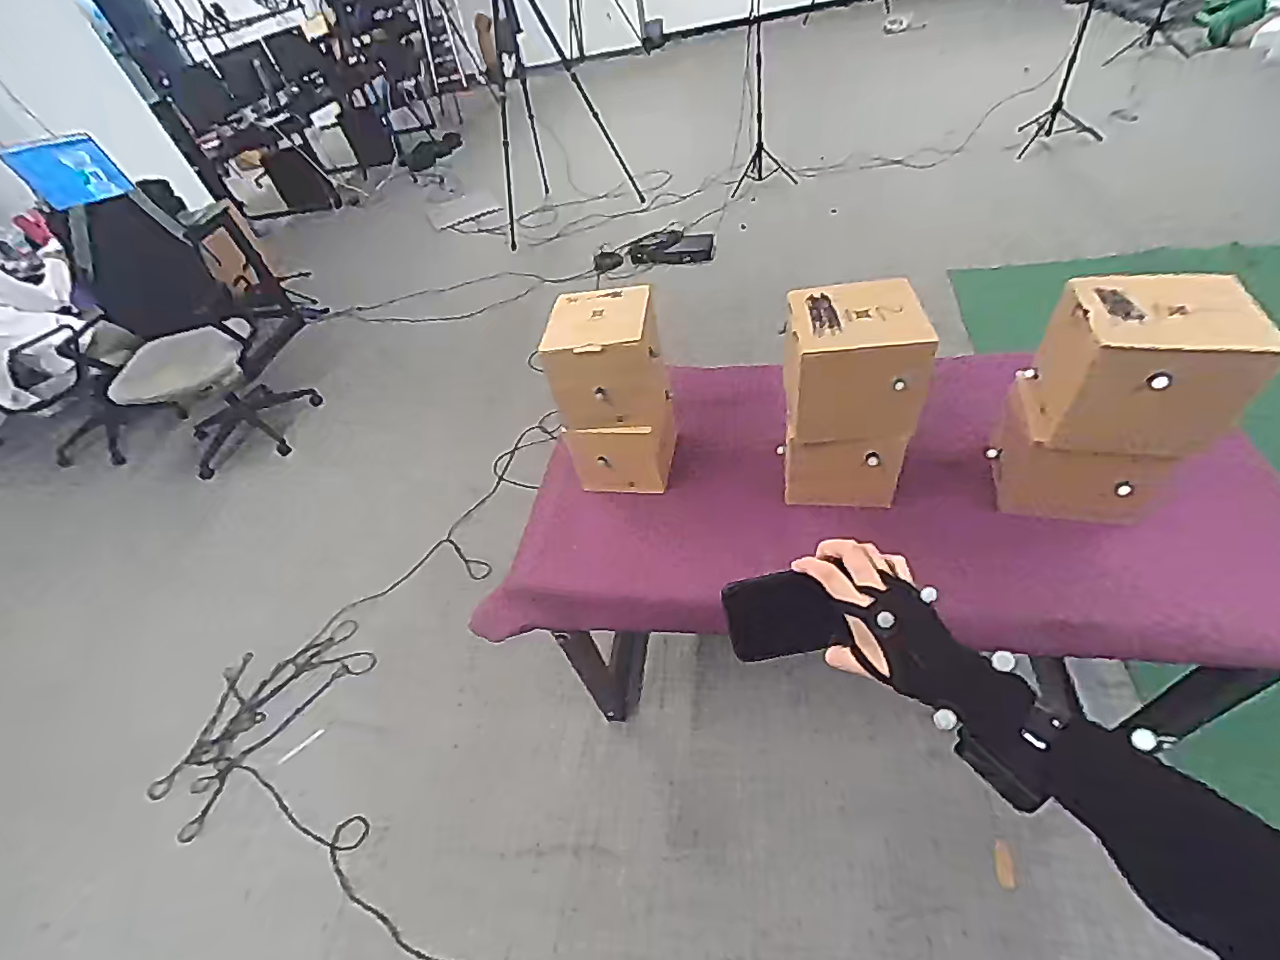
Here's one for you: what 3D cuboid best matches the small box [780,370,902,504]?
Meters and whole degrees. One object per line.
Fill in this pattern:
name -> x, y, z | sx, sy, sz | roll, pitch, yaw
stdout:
small box -> 0.338, -0.072, 0.938 | 0.179, 0.176, 0.168 | 2, 49, 15

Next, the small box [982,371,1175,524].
small box -> 0.664, -0.049, 0.845 | 0.179, 0.176, 0.168 | 7, 50, 19

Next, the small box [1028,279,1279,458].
small box -> 0.643, -0.146, 0.714 | 0.179, 0.176, 0.168 | 7, 50, 18

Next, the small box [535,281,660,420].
small box -> -0.061, -0.216, 0.935 | 0.168, 0.176, 0.179 | -1, 49, 11

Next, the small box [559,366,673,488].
small box -> -0.036, -0.101, 1.050 | 0.168, 0.176, 0.179 | 3, 49, 15
